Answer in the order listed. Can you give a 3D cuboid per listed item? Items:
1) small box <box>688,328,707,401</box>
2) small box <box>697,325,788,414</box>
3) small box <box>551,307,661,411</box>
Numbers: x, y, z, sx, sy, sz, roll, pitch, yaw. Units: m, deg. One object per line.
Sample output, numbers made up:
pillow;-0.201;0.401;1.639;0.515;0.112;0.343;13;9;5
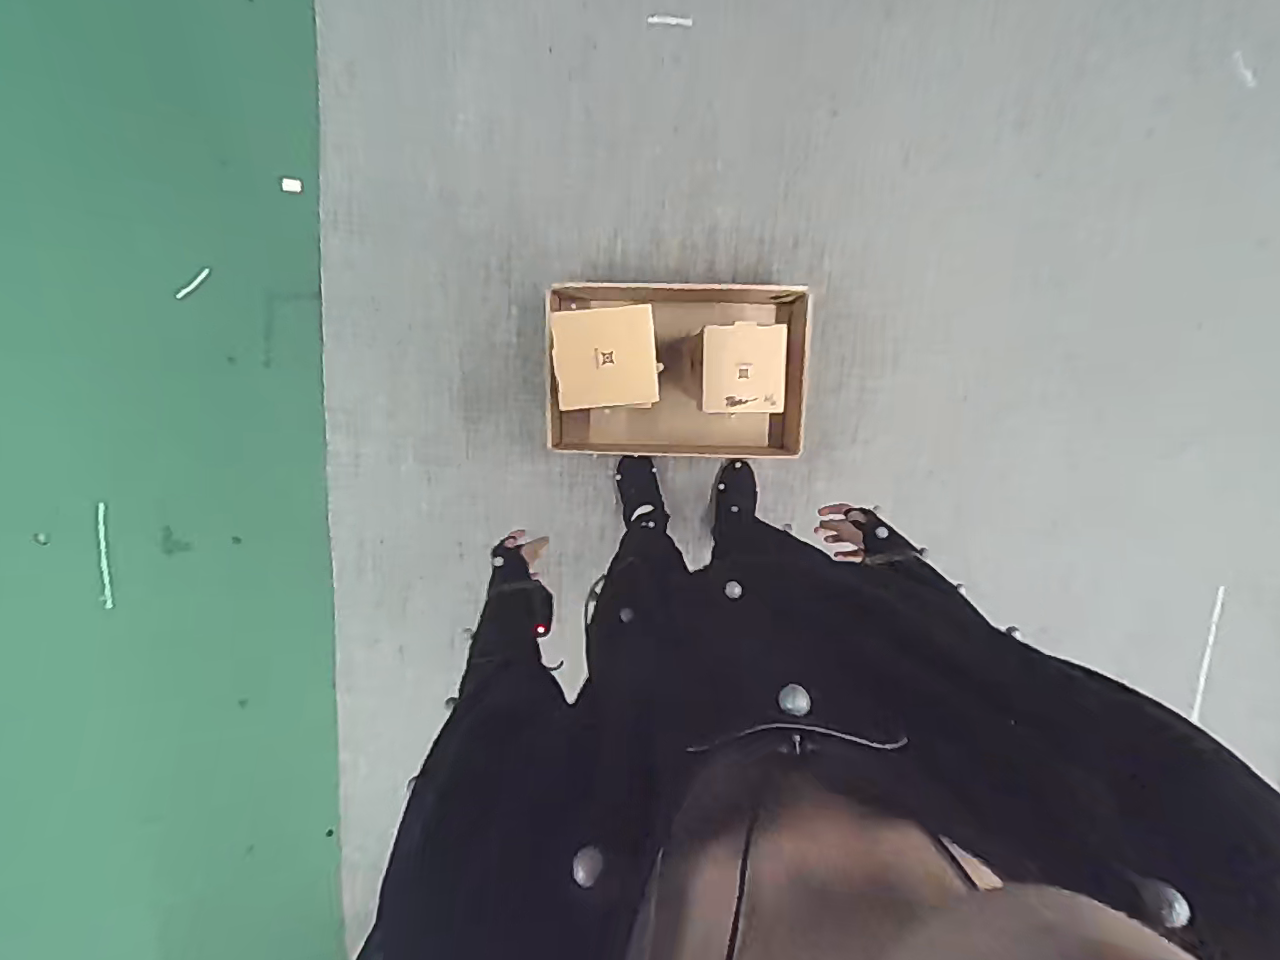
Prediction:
small box;0.209;-0.279;1.317;0.179;0.176;0.168;-4;99;2
small box;0.212;-0.231;1.159;0.168;0.176;0.179;0;98;2
small box;-0.058;-0.221;1.000;0.179;0.176;0.168;-5;100;1
